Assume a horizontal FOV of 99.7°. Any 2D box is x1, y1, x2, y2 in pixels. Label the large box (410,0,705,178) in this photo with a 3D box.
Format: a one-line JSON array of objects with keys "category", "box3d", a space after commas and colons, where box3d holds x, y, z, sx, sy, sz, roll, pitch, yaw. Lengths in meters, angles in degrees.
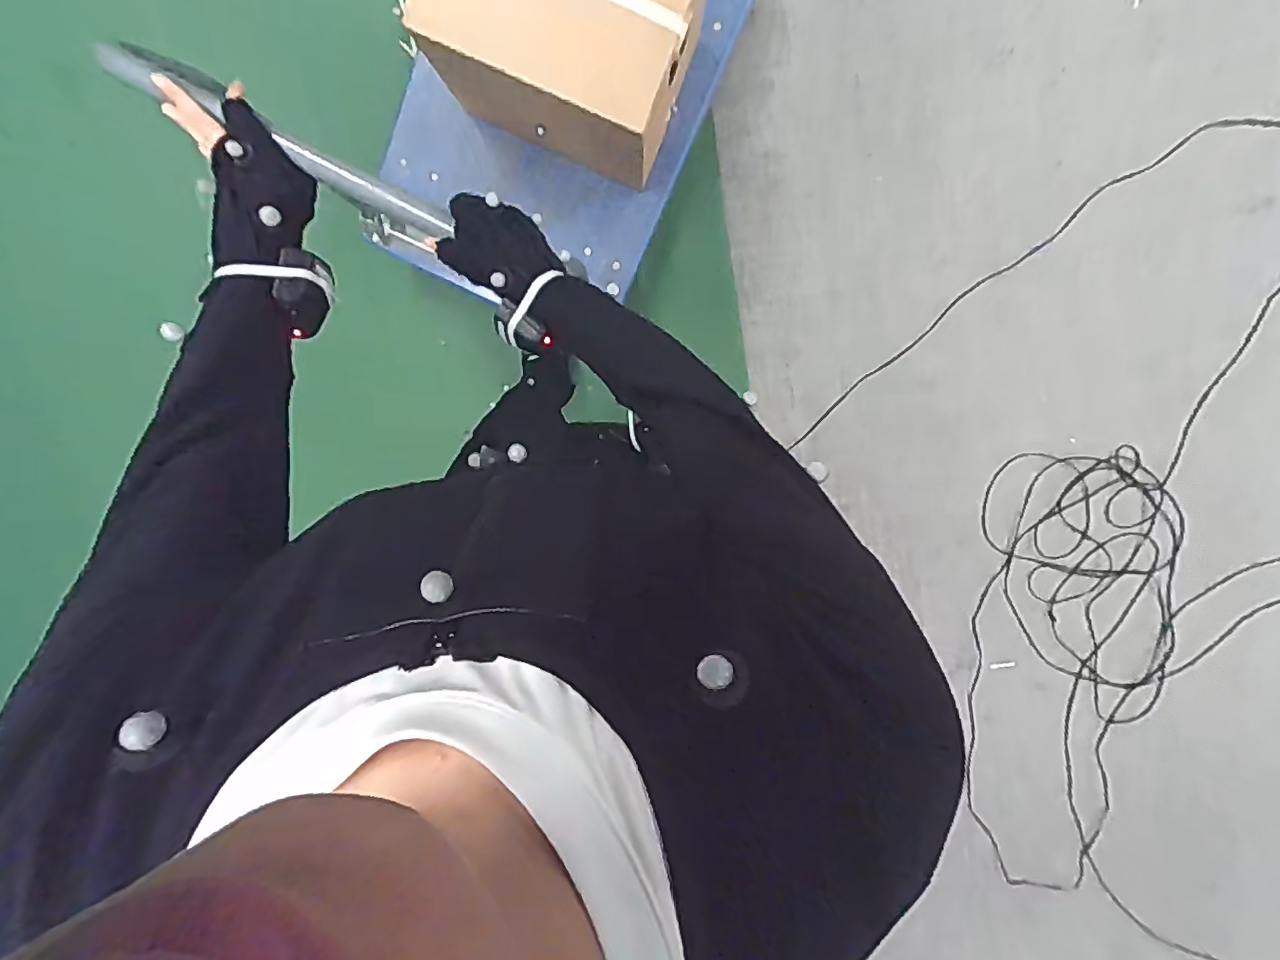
[{"category": "large box", "box3d": [-0.116, -0.807, 0.962, 0.408, 0.320, 0.320, 21, 102, -4]}]
